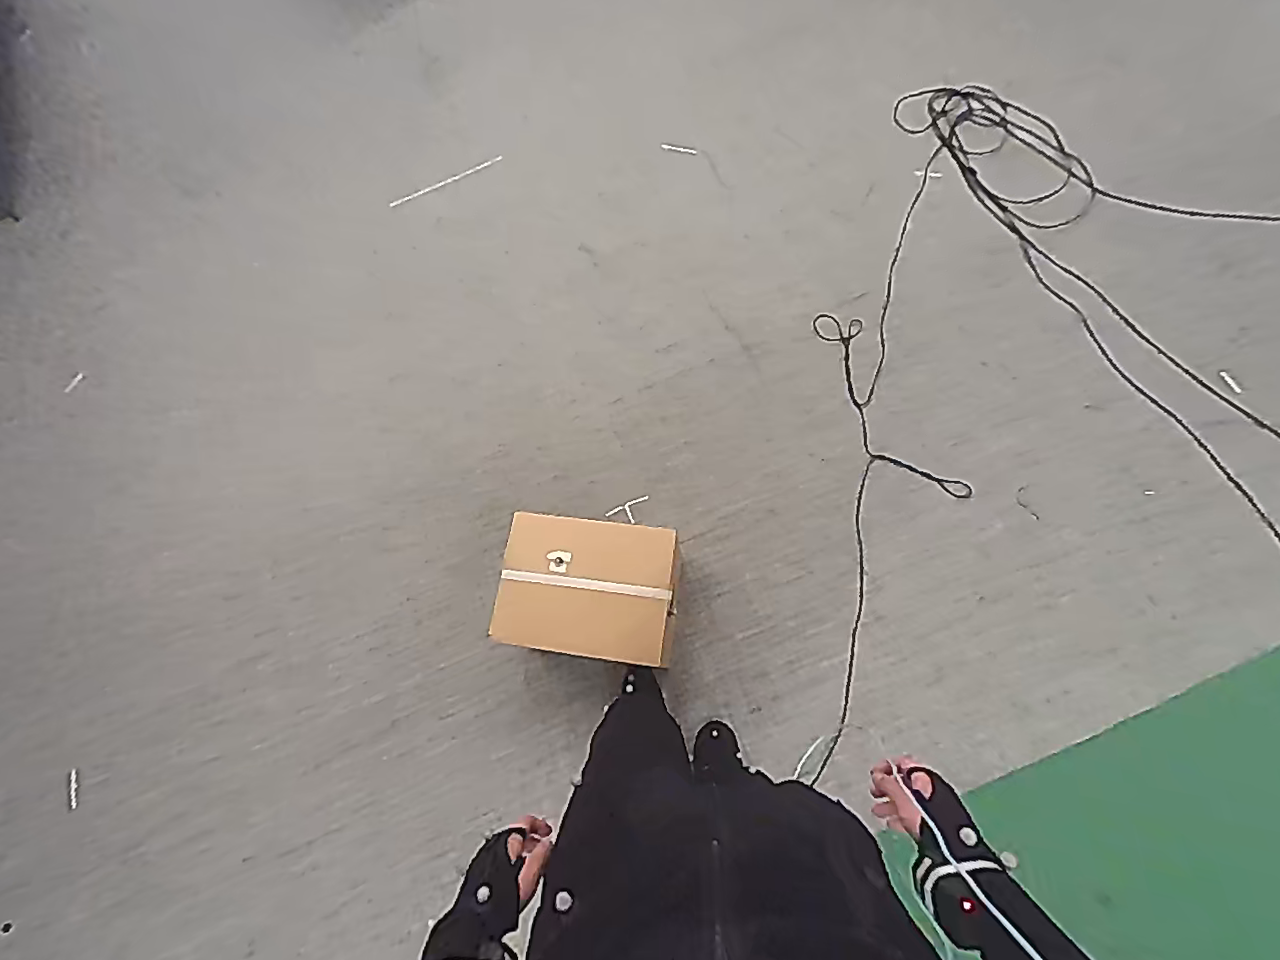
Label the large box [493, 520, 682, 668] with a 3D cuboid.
[{"bbox_3d":[-0.108,0.302,1.400,0.408,0.320,0.320,5,71,10],"label":"large box"}]
